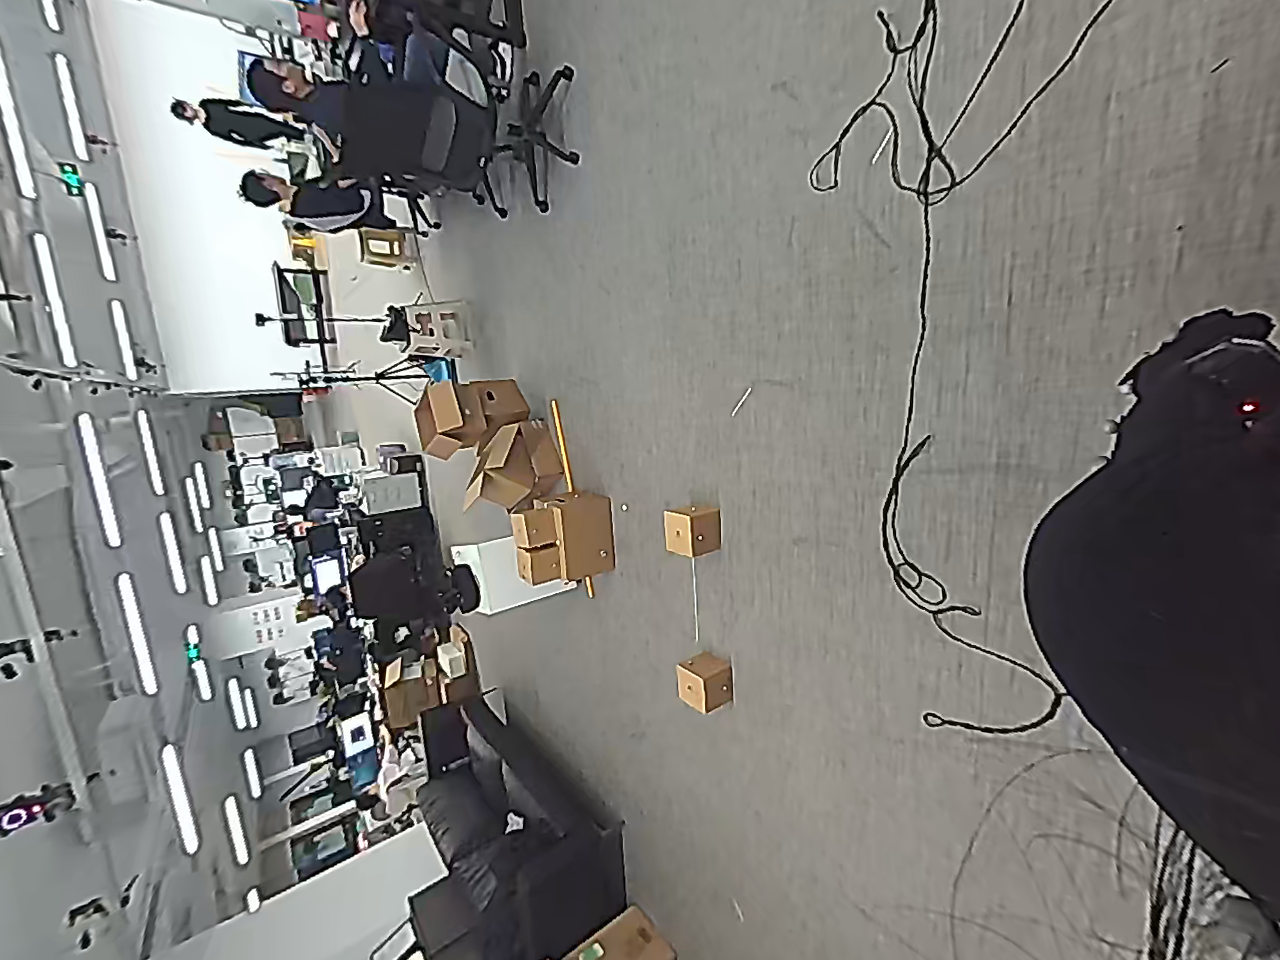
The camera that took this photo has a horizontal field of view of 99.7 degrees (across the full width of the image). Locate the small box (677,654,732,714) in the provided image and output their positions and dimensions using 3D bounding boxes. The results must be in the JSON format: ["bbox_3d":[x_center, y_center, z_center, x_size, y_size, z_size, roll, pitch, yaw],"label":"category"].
[{"bbox_3d":[0.283,0.882,2.363,0.179,0.176,0.168,9,107,53],"label":"small box"}]

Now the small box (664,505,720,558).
[{"bbox_3d":[0.220,0.208,2.258,0.168,0.176,0.179,9,107,53],"label":"small box"}]
